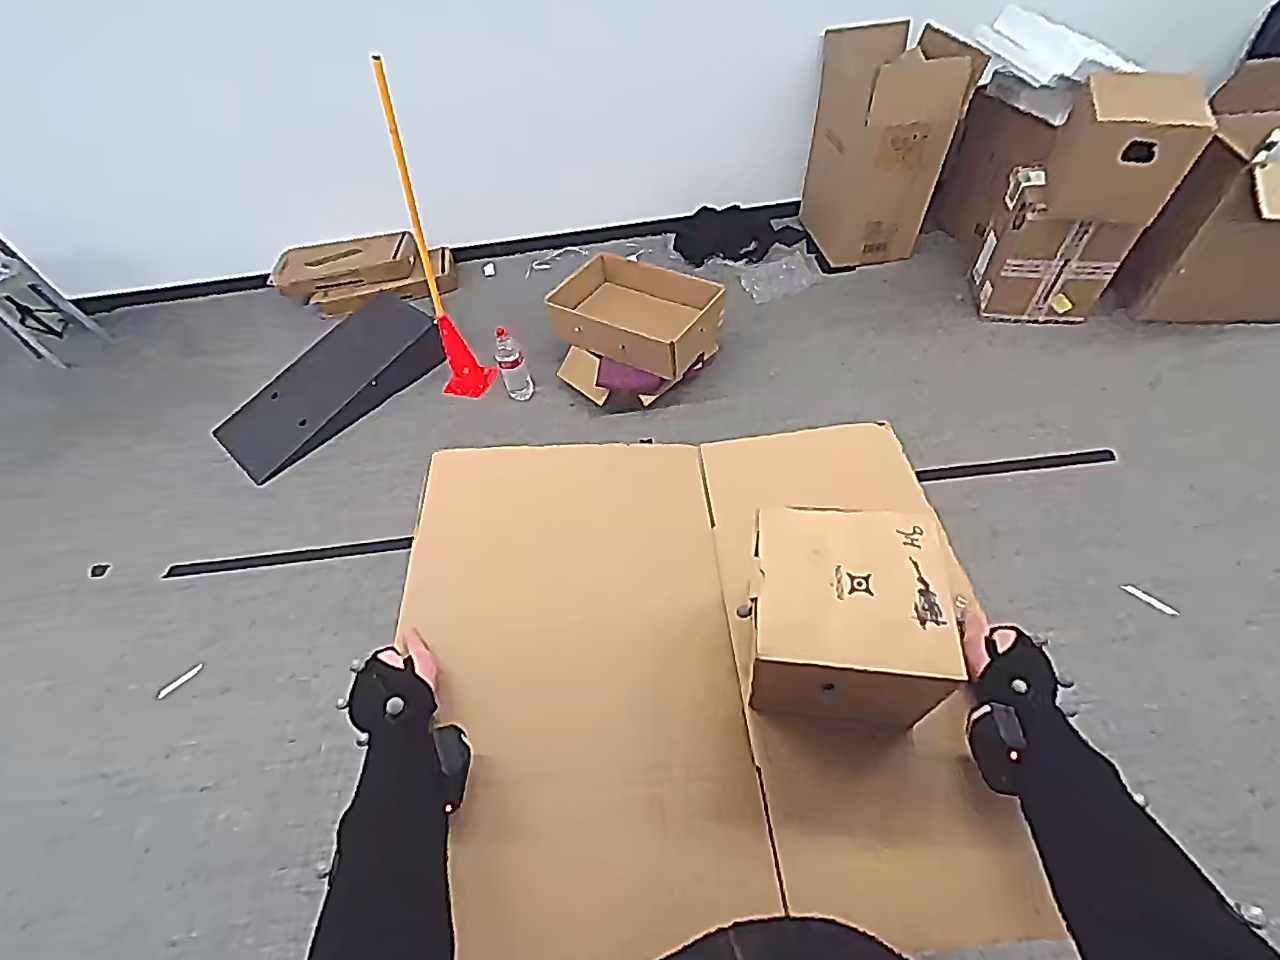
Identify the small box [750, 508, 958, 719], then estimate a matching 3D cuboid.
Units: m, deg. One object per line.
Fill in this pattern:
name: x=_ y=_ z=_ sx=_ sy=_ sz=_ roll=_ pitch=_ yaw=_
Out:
small box: x=0.210 y=0.146 z=0.583 sx=0.179 sy=0.176 sz=0.168 roll=2 pitch=54 yaw=12
